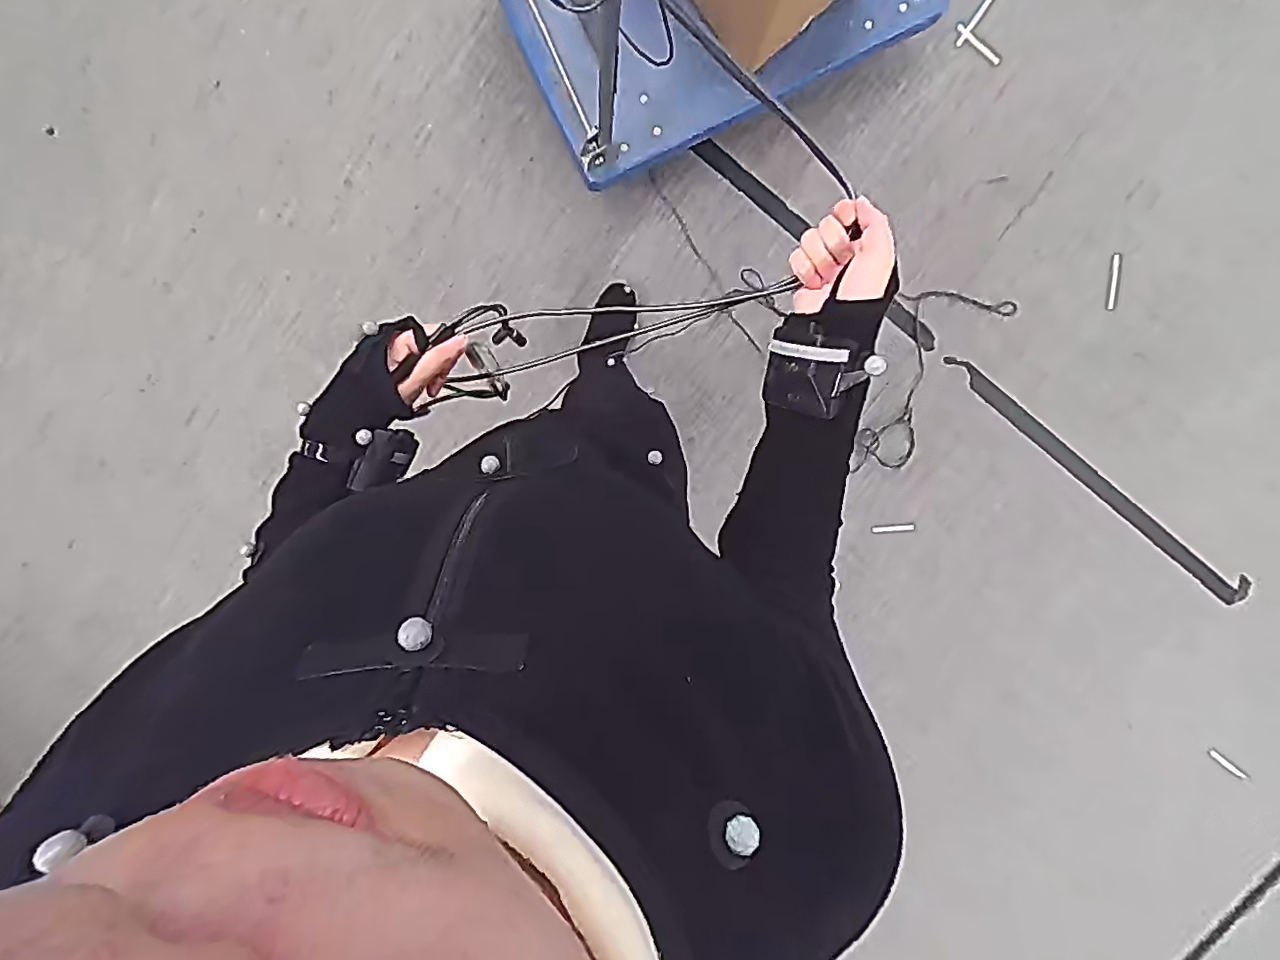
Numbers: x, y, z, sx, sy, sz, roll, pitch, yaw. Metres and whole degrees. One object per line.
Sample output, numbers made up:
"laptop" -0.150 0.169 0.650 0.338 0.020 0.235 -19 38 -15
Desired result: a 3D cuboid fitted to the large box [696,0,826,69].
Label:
"large box" 0.220 -1.083 0.959 0.320 0.320 0.408 -40 100 6
